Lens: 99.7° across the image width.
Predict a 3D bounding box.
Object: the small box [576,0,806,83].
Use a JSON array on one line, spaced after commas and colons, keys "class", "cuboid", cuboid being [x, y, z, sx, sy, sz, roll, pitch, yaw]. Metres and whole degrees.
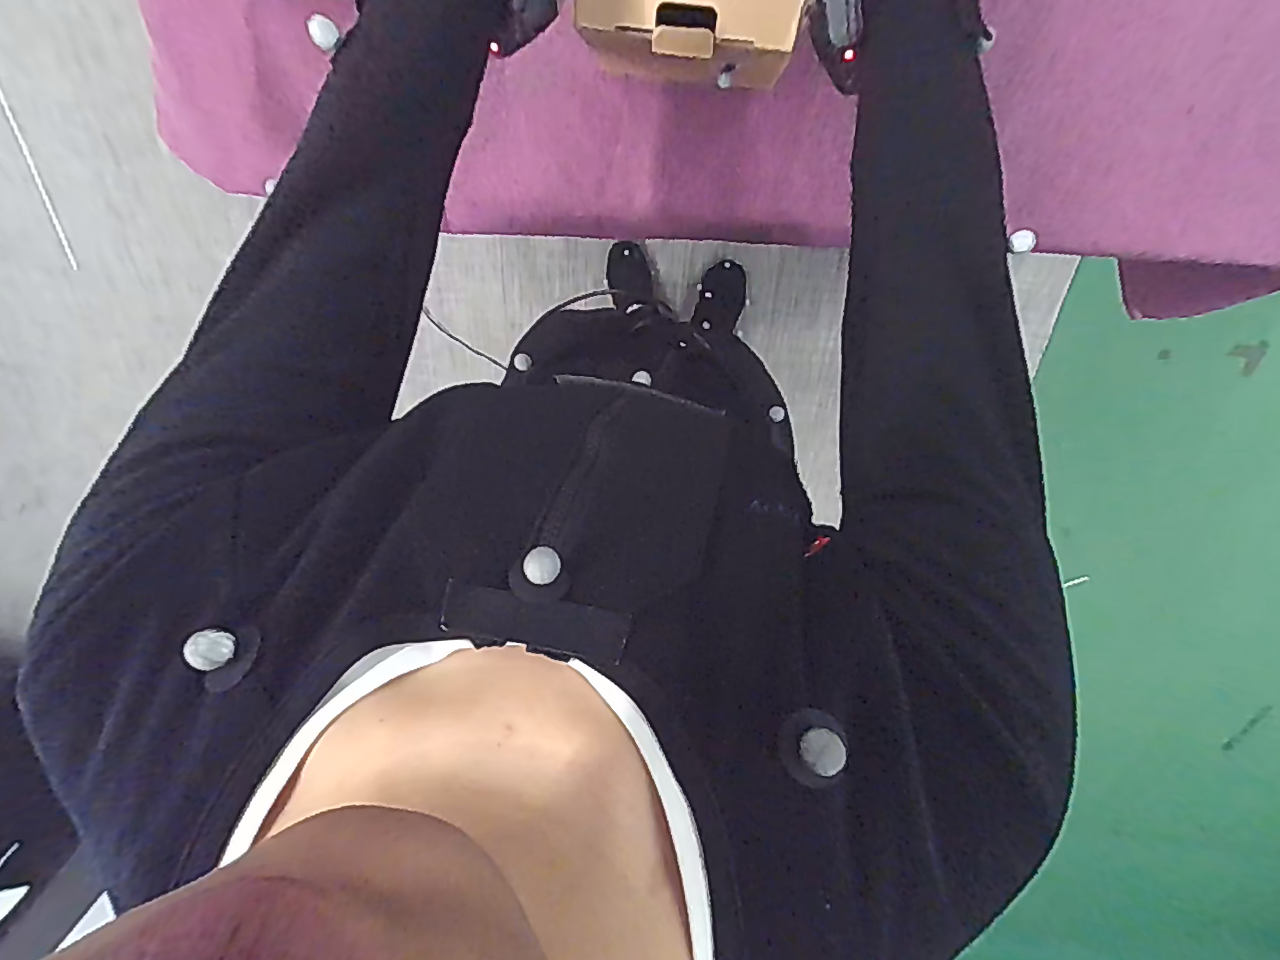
[{"class": "small box", "cuboid": [0.052, -0.433, 0.421, 0.168, 0.176, 0.179, 8, 118, 2]}]
